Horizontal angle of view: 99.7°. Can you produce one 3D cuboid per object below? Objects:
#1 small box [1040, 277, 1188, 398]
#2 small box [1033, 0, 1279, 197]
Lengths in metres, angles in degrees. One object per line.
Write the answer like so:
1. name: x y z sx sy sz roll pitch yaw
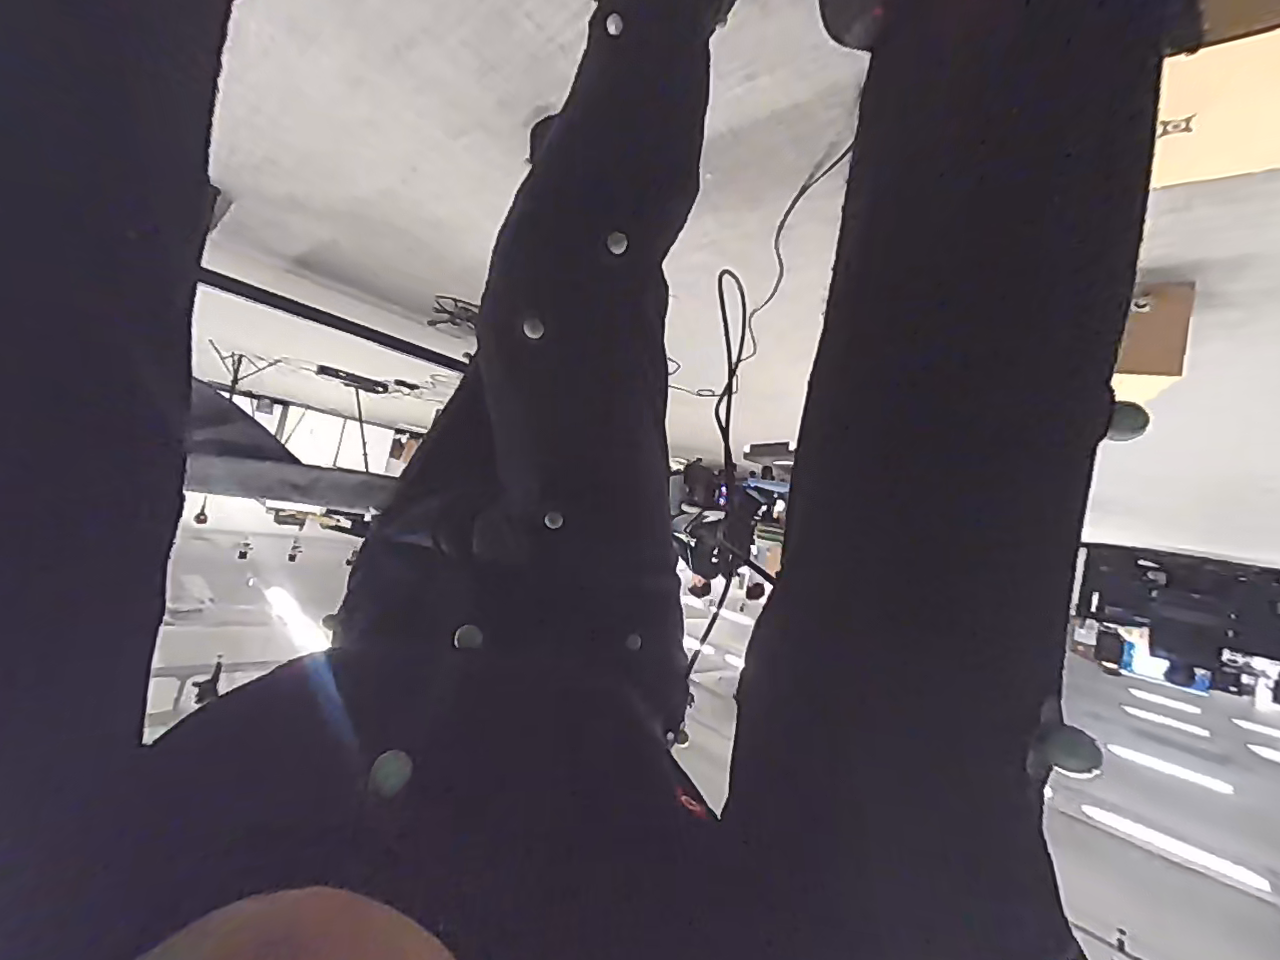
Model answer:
1. small box: 0.877 -0.263 1.010 0.168 0.176 0.179 9 176 27
2. small box: 0.446 -0.373 0.444 0.179 0.176 0.168 10 177 40
